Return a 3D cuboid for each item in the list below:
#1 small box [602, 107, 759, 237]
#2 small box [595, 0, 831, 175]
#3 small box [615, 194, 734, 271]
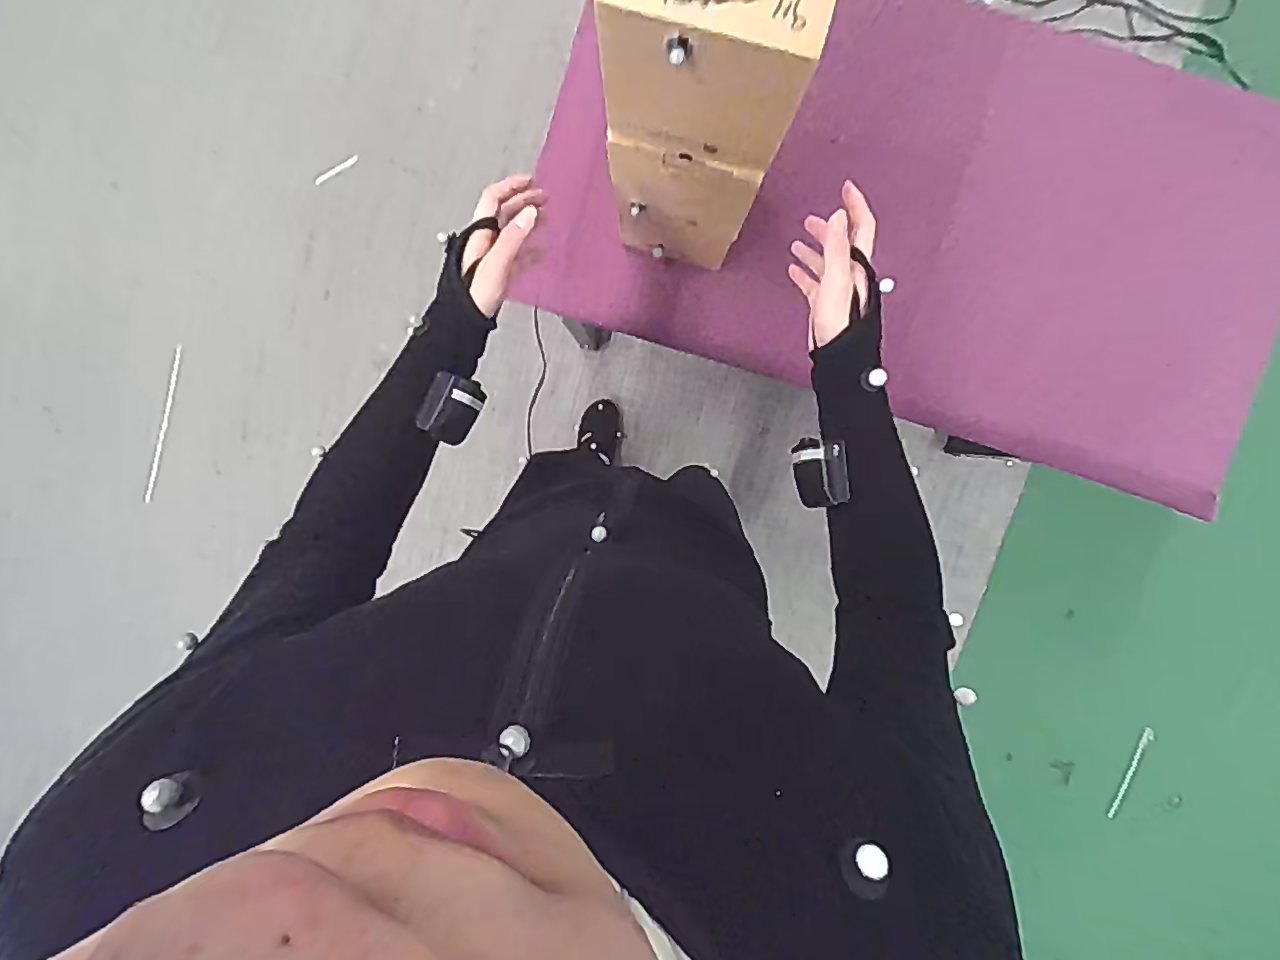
[{"bbox_3d":[0.063,-0.405,0.615,0.168,0.176,0.179,15,93,-1],"label":"small box"},{"bbox_3d":[0.065,-0.399,0.451,0.168,0.176,0.179,14,94,0],"label":"small box"},{"bbox_3d":[0.066,-0.427,0.777,0.168,0.176,0.179,15,95,-1],"label":"small box"}]
